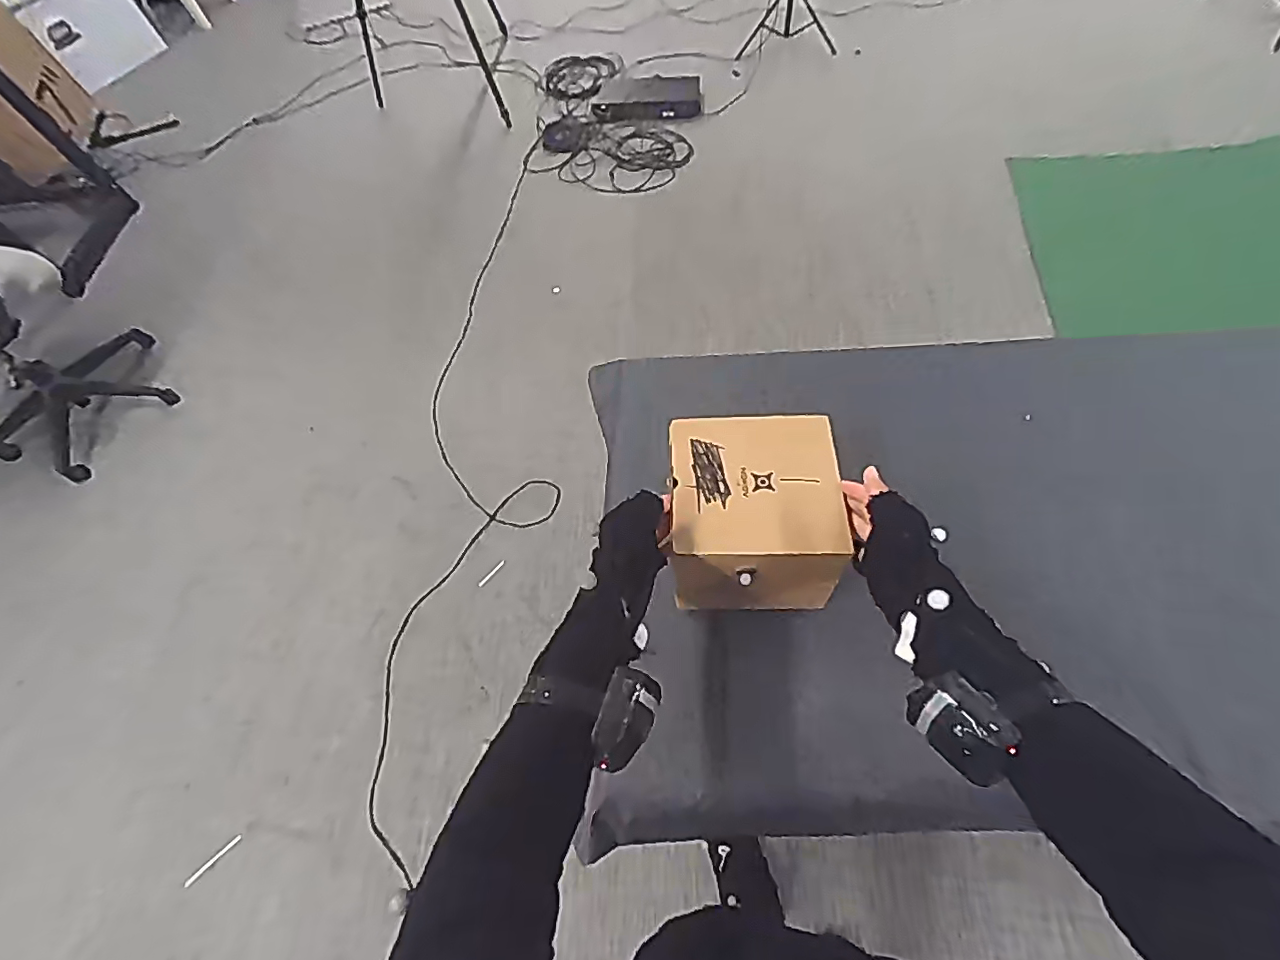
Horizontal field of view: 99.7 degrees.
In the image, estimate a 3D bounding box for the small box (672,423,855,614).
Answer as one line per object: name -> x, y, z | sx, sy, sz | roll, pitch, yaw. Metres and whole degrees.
small box -> 0.130, 0.052, 0.628 | 0.179, 0.176, 0.168 | -2, 59, 6
